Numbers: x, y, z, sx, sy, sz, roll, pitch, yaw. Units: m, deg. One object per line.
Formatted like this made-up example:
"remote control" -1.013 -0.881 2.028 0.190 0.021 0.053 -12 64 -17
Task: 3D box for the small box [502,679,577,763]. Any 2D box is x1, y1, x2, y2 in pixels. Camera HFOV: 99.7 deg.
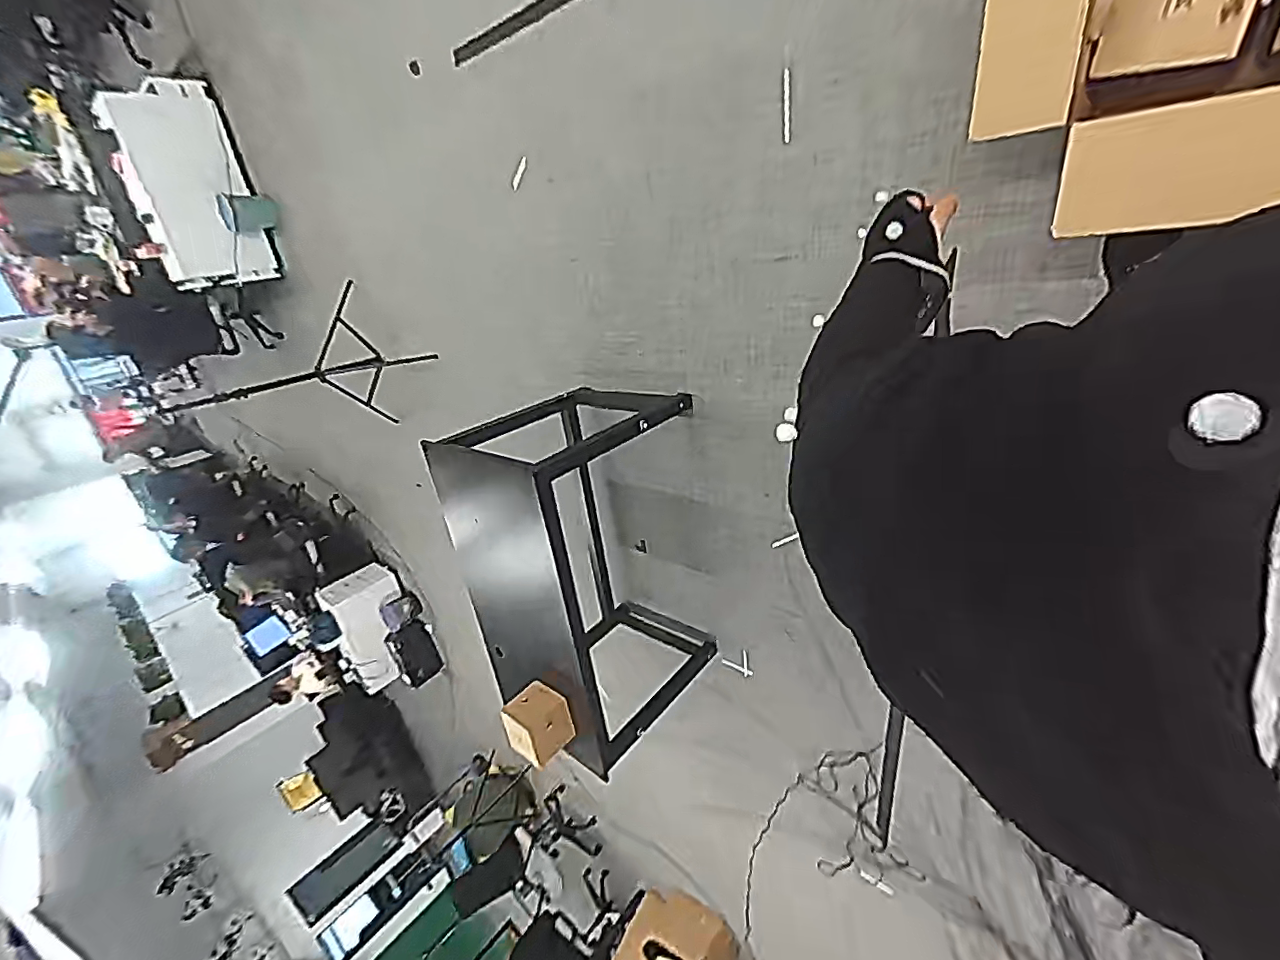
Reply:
"small box" -0.345 0.826 1.875 0.168 0.176 0.179 12 121 42
